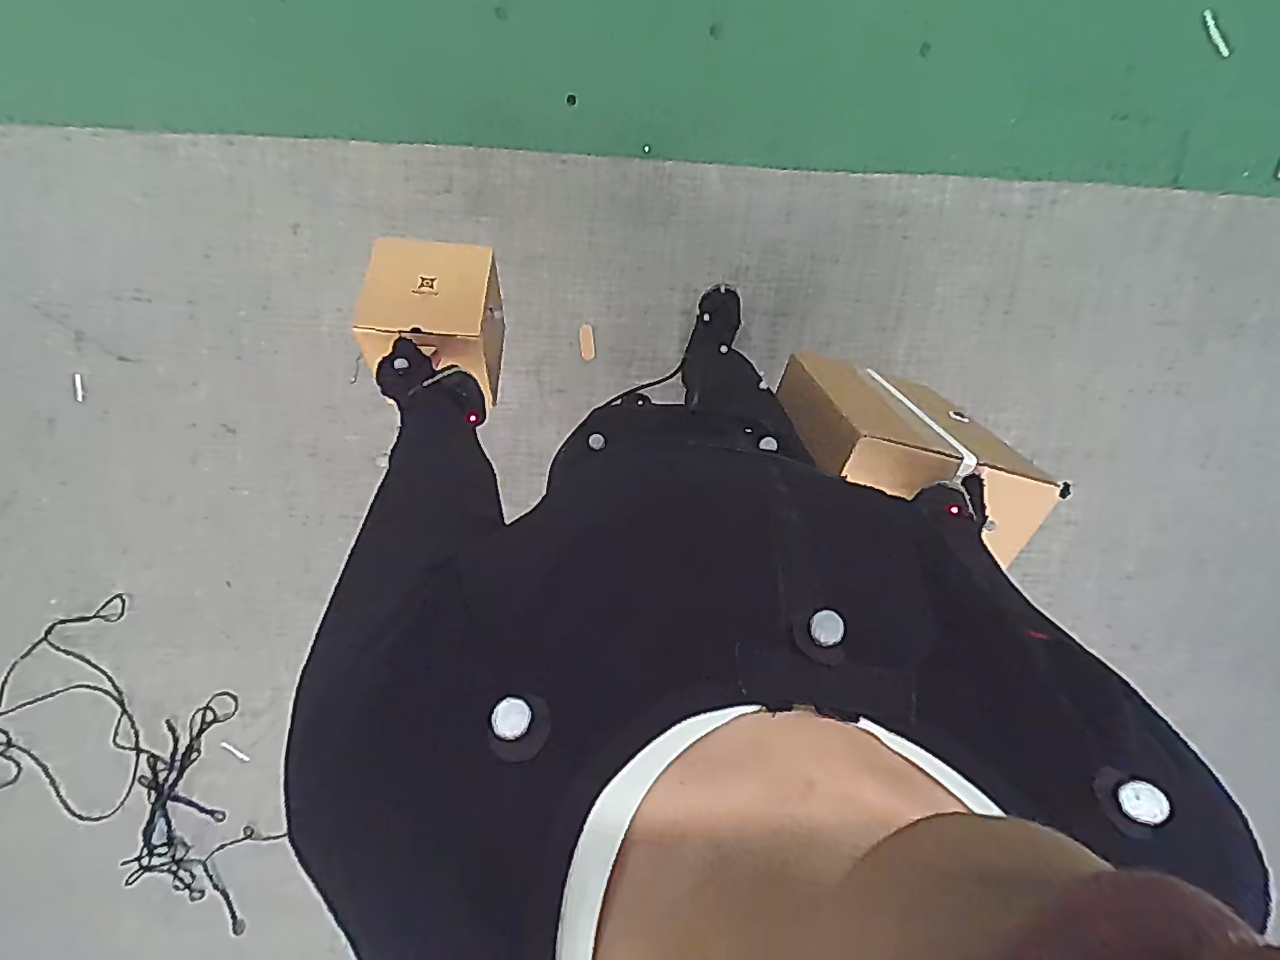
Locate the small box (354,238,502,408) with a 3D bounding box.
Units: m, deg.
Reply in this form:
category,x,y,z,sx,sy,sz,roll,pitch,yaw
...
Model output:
category,x,y,z,sx,sy,sz,roll,pitch,yaw
small box,-0.306,-0.233,0.823,0.168,0.176,0.179,3,64,-7
